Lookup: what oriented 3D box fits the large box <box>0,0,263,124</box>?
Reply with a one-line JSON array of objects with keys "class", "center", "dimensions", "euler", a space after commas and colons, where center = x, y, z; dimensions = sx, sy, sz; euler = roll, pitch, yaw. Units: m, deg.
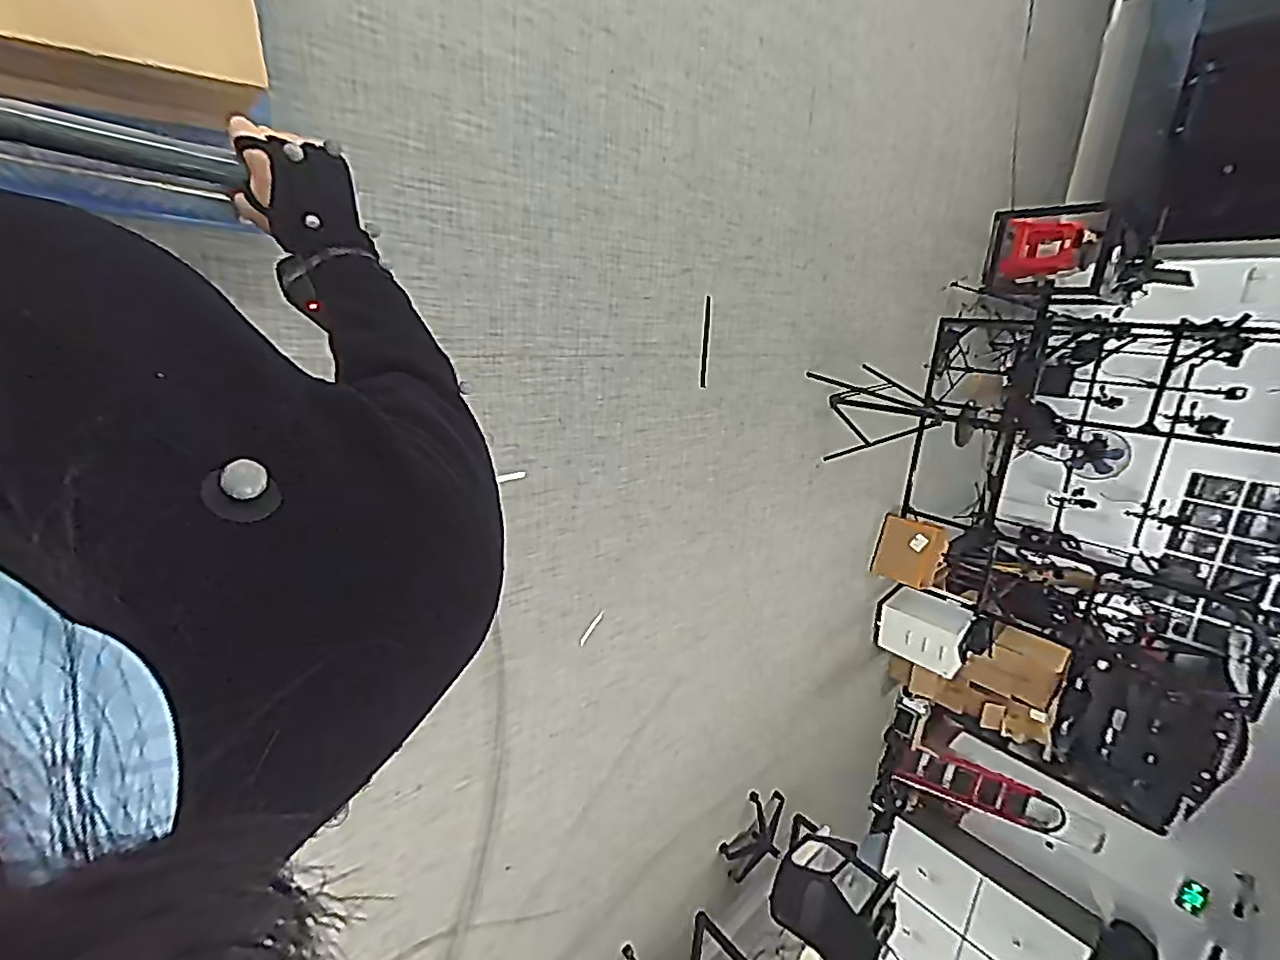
[{"class": "large box", "center": [-0.794, -0.708, 0.709], "dimensions": [0.408, 0.320, 0.320], "euler": [-18, 117, -41]}]
